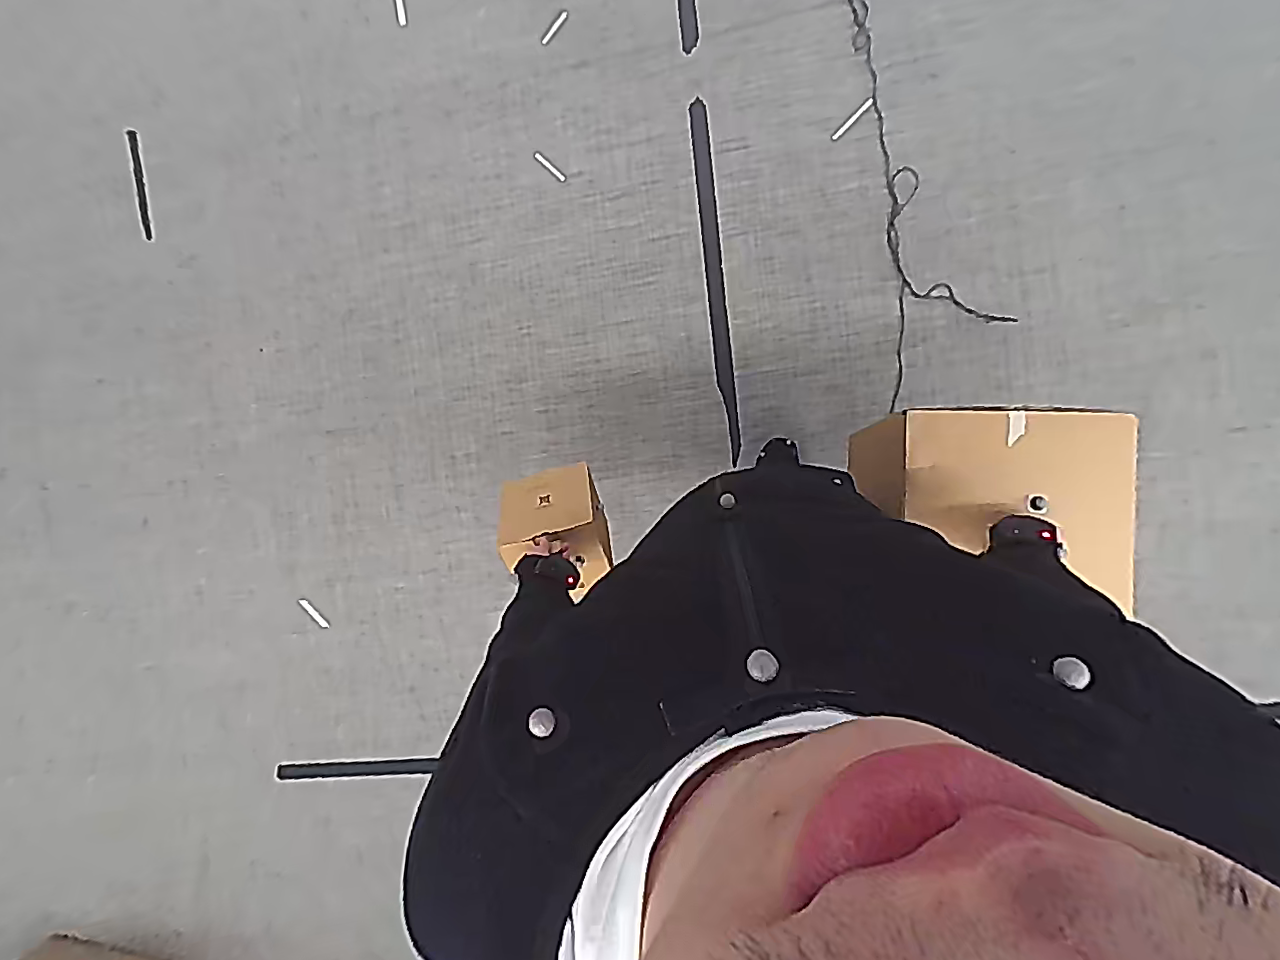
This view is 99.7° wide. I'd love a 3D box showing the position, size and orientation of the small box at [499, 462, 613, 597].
[{"bbox_3d":[-0.153,0.099,1.012,0.168,0.179,0.176,-14,128,0],"label":"small box"}]
